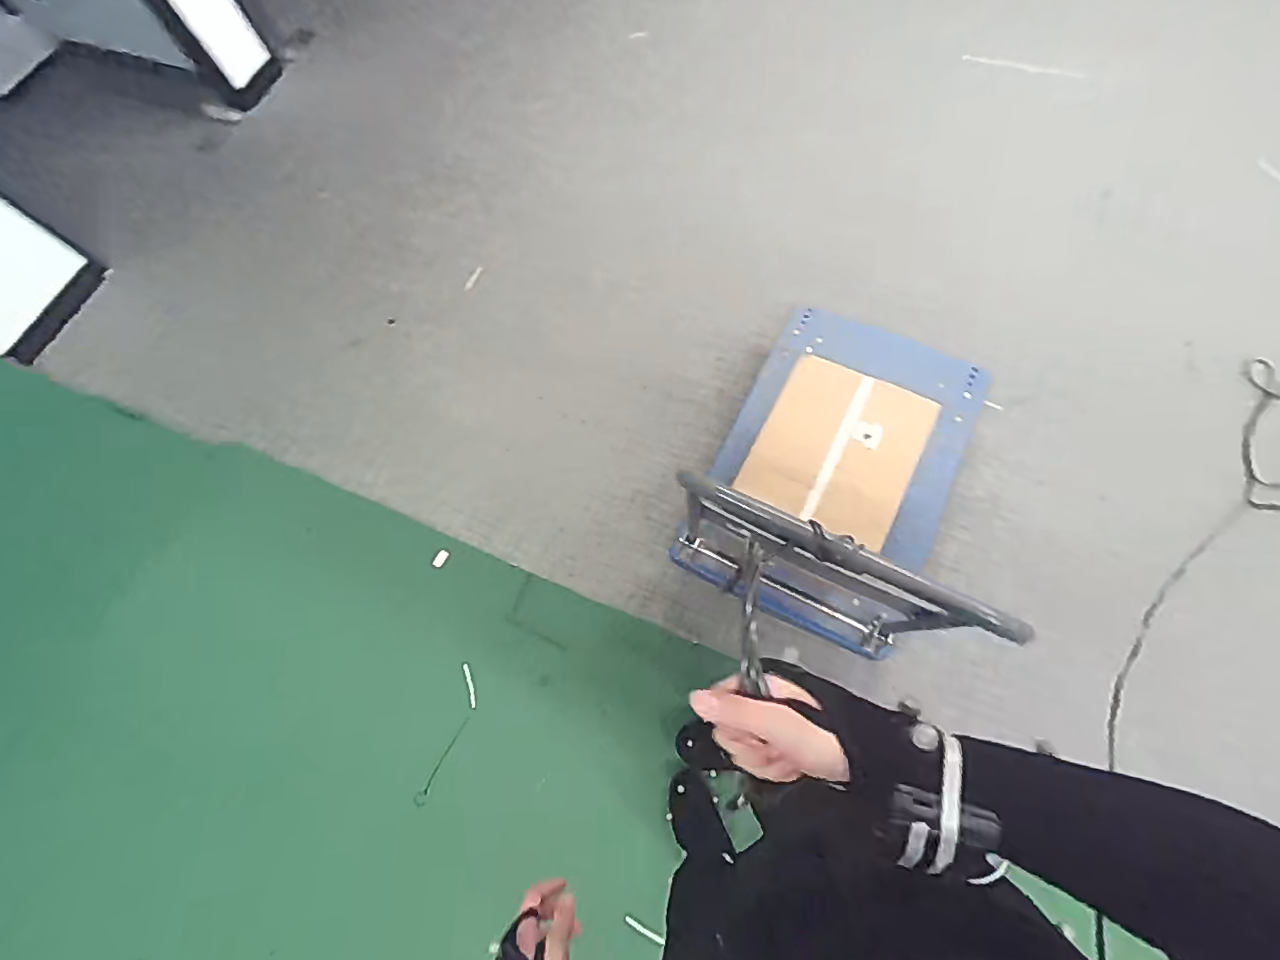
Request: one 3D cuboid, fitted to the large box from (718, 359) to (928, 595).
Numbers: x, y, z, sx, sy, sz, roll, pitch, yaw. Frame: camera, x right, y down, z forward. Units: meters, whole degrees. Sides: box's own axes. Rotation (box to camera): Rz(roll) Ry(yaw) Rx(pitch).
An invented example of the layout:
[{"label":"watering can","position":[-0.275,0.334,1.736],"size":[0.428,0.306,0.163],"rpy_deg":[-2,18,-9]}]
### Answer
[{"label":"large box","position":[0.405,0.004,1.273],"size":[0.320,0.320,0.408],"rpy_deg":[26,73,13]}]
